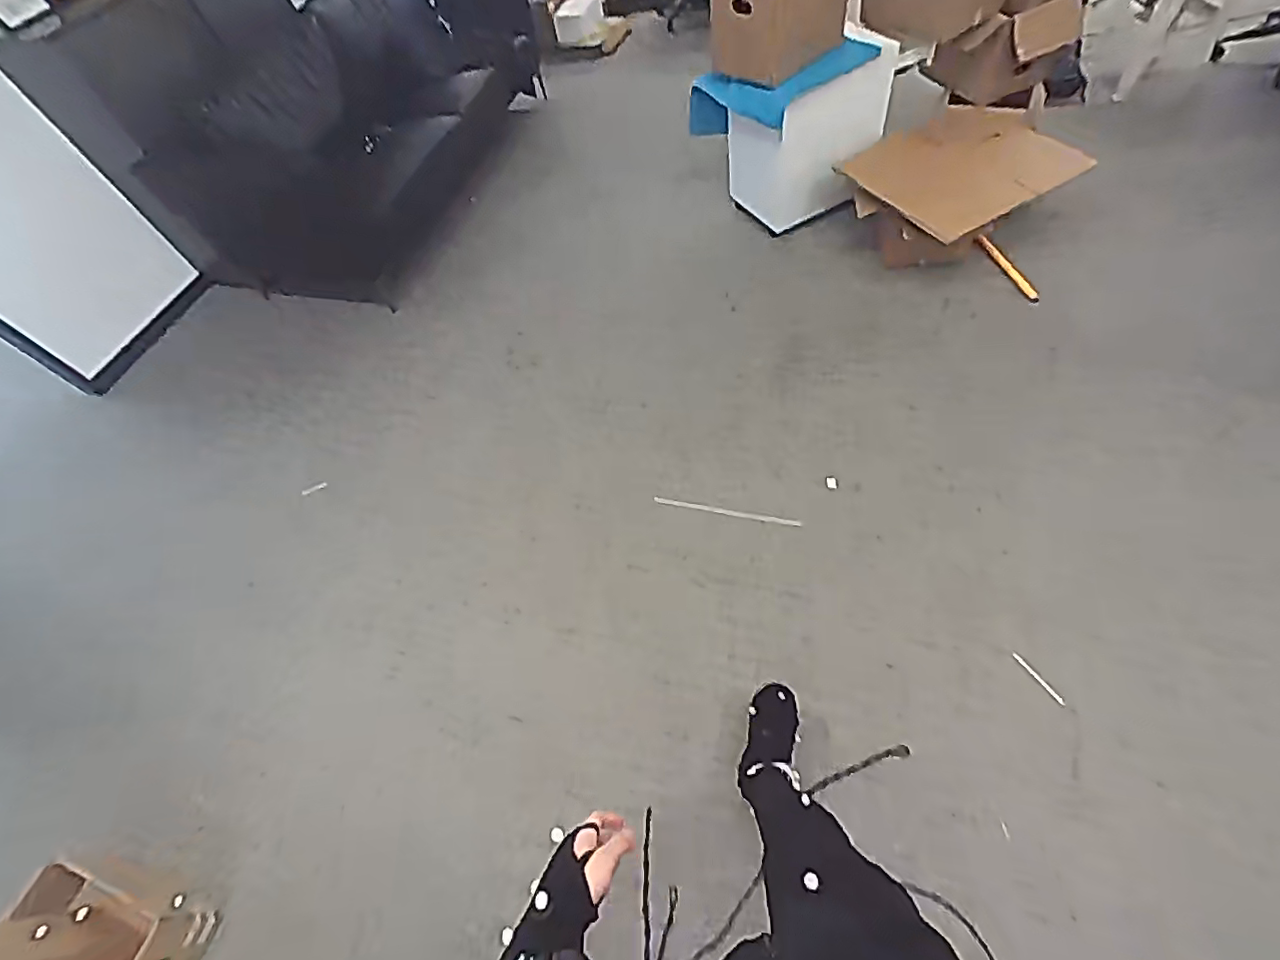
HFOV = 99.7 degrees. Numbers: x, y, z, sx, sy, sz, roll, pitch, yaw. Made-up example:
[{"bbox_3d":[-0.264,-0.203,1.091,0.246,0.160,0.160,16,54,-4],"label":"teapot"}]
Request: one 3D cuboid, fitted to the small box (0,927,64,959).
[{"bbox_3d":[-1.340,1.026,1.075,0.179,0.176,0.168,11,61,17],"label":"small box"}]
